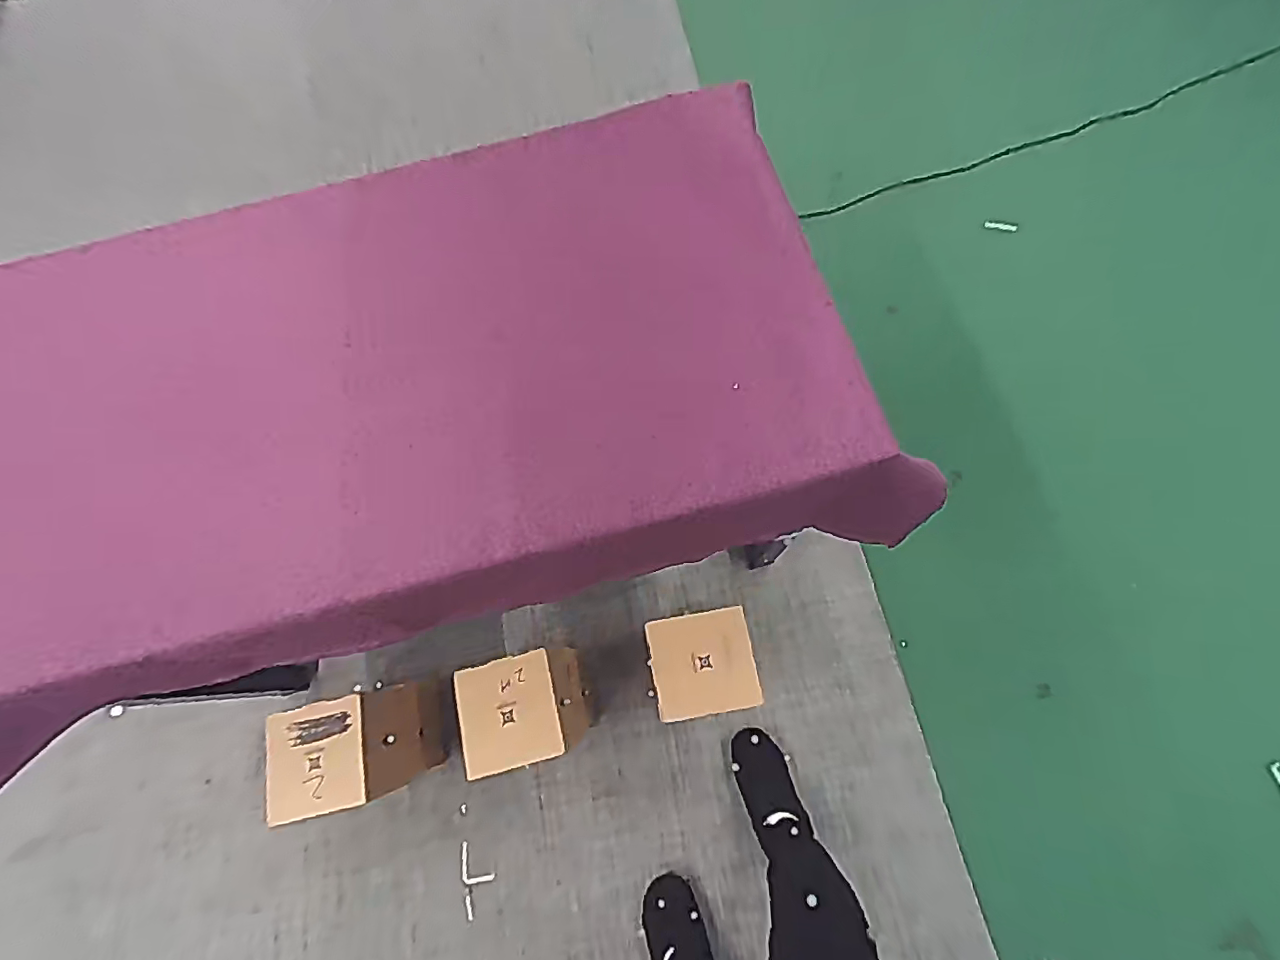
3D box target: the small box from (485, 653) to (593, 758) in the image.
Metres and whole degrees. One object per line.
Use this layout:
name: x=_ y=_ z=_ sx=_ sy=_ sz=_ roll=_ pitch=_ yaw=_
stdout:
small box: x=-0.209 y=0.473 z=1.147 sx=0.179 sy=0.176 sz=0.168 roll=-14 pitch=71 yaw=-1
